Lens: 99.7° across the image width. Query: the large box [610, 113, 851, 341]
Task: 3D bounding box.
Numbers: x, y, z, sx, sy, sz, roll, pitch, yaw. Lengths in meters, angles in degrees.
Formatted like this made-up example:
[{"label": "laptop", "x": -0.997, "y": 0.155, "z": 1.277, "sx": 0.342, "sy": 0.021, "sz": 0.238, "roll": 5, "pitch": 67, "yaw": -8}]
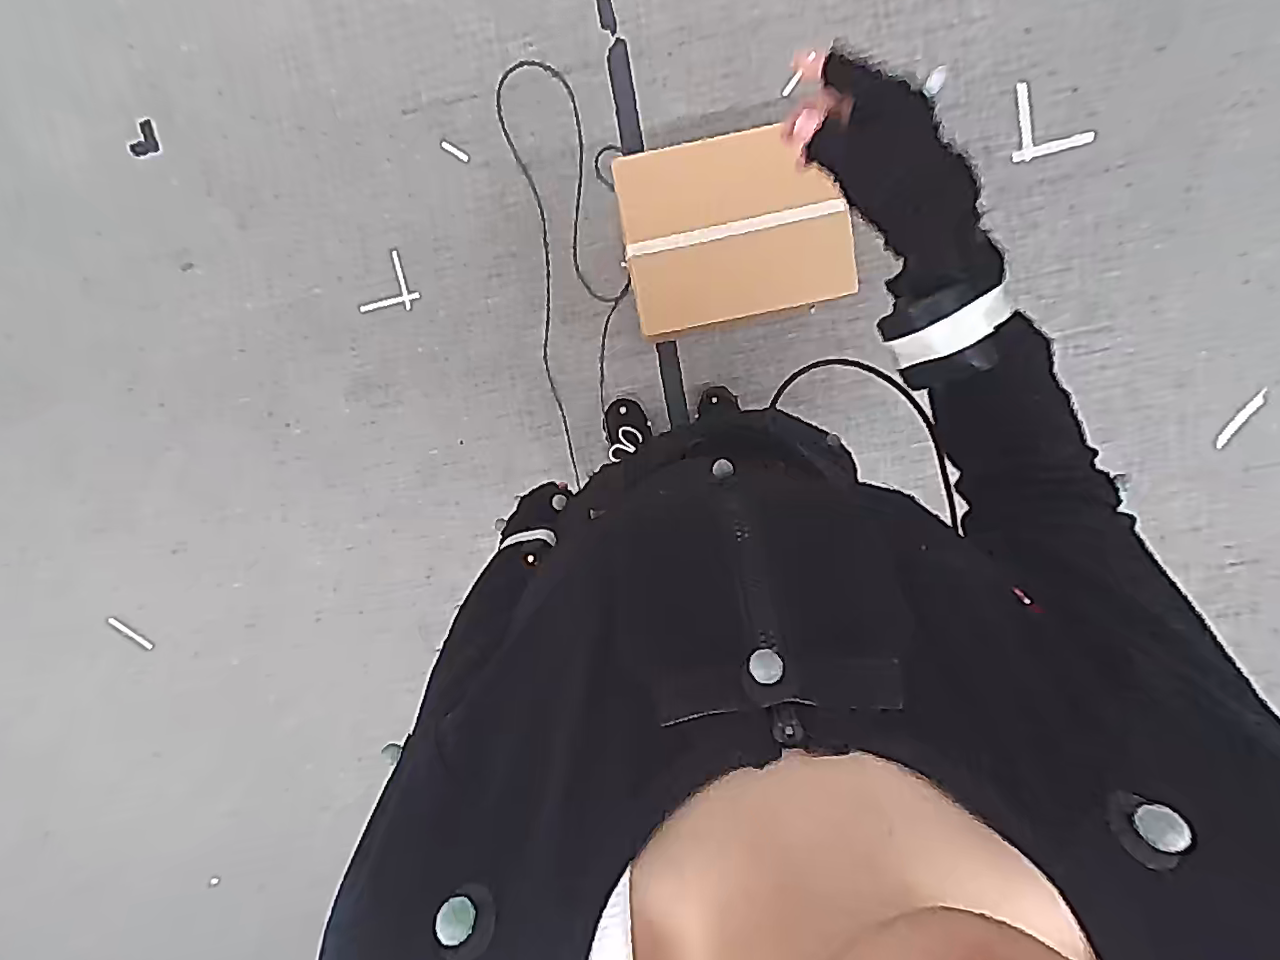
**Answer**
[{"label": "large box", "x": 0.172, "y": -0.489, "z": 1.130, "sx": 0.408, "sy": 0.320, "sz": 0.320, "roll": -11, "pitch": 100, "yaw": 3}]
